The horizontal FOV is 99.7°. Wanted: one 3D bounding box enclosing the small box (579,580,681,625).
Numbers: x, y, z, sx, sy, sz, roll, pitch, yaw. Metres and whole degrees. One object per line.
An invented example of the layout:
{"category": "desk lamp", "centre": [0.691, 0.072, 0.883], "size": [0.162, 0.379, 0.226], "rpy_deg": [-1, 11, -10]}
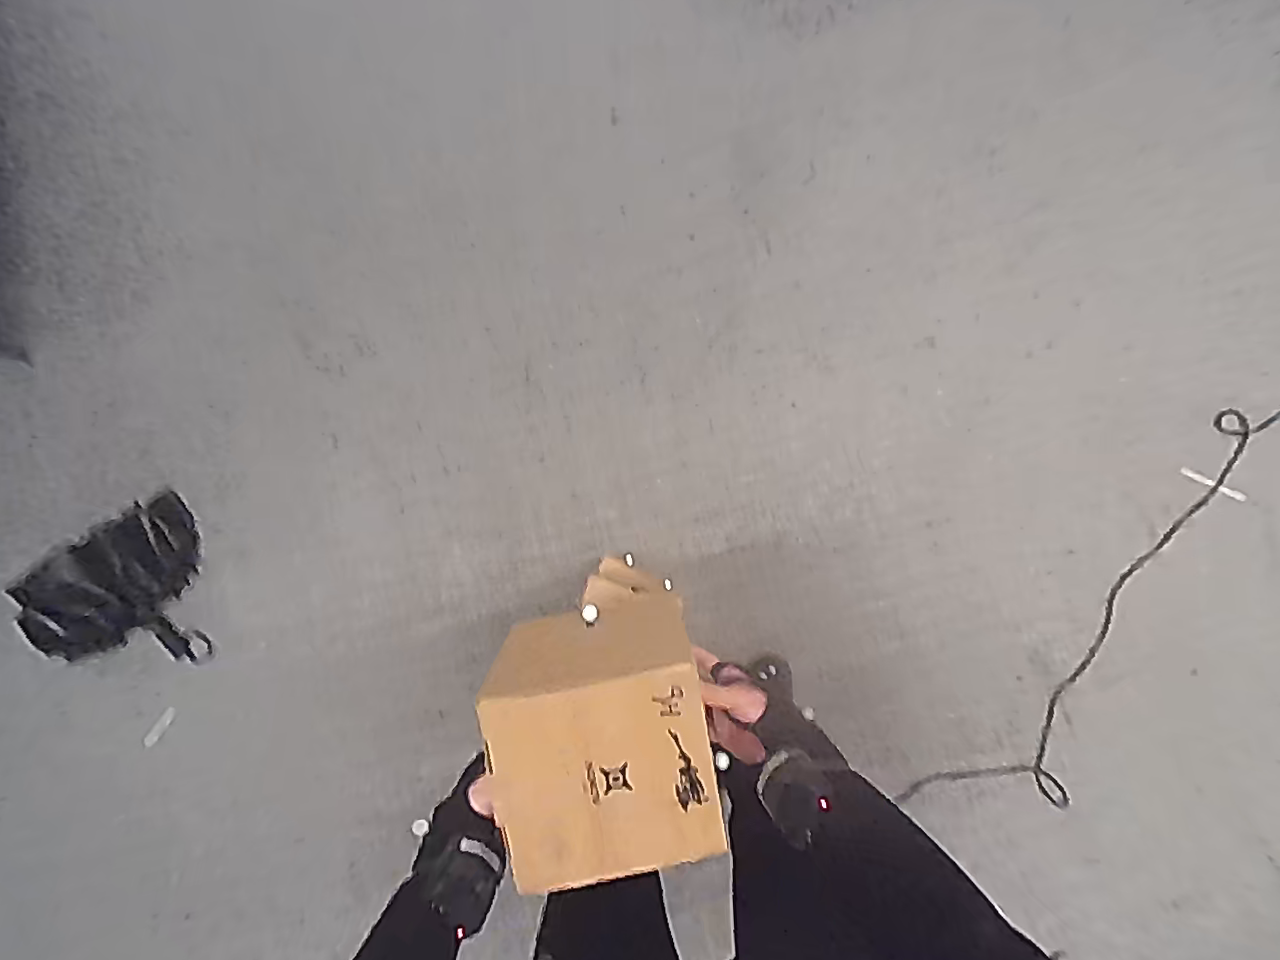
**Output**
{"category": "small box", "centre": [-0.028, 0.286, 0.975], "size": [0.168, 0.176, 0.179], "rpy_deg": [14, 85, 6]}

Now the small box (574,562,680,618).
{"category": "small box", "centre": [-0.030, 0.285, 1.141], "size": [0.179, 0.176, 0.168], "rpy_deg": [26, 85, 6]}

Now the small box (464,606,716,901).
{"category": "small box", "centre": [-0.038, 0.232, 0.499], "size": [0.179, 0.176, 0.168], "rpy_deg": [-10, 97, 0]}
